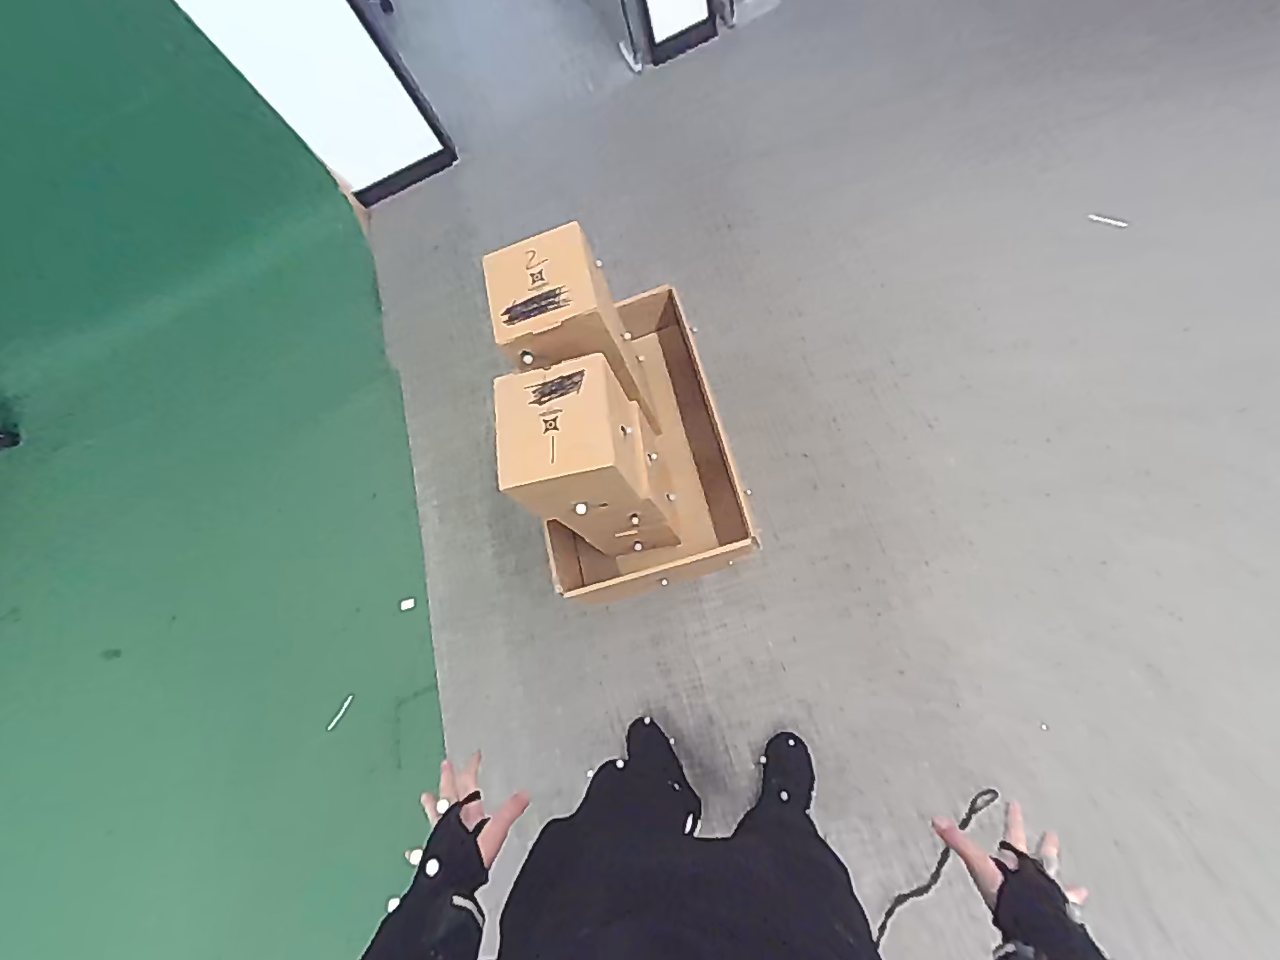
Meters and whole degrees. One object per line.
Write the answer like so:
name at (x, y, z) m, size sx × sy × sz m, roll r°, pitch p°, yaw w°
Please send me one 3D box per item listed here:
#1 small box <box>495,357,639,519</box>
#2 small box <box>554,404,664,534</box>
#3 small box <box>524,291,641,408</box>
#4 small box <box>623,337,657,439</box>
small box at (-0.106, -0.055, 0.817) m, size 0.168 × 0.176 × 0.179 m, roll -11°, pitch 69°, yaw 10°
small box at (-0.059, -0.008, 0.967) m, size 0.168 × 0.176 × 0.179 m, roll -11°, pitch 68°, yaw 10°
small box at (-0.108, -0.229, 1.060) m, size 0.168 × 0.176 × 0.179 m, roll -18°, pitch 70°, yaw 7°
small box at (-0.070, -0.183, 1.211) m, size 0.168 × 0.176 × 0.179 m, roll -18°, pitch 70°, yaw 8°
